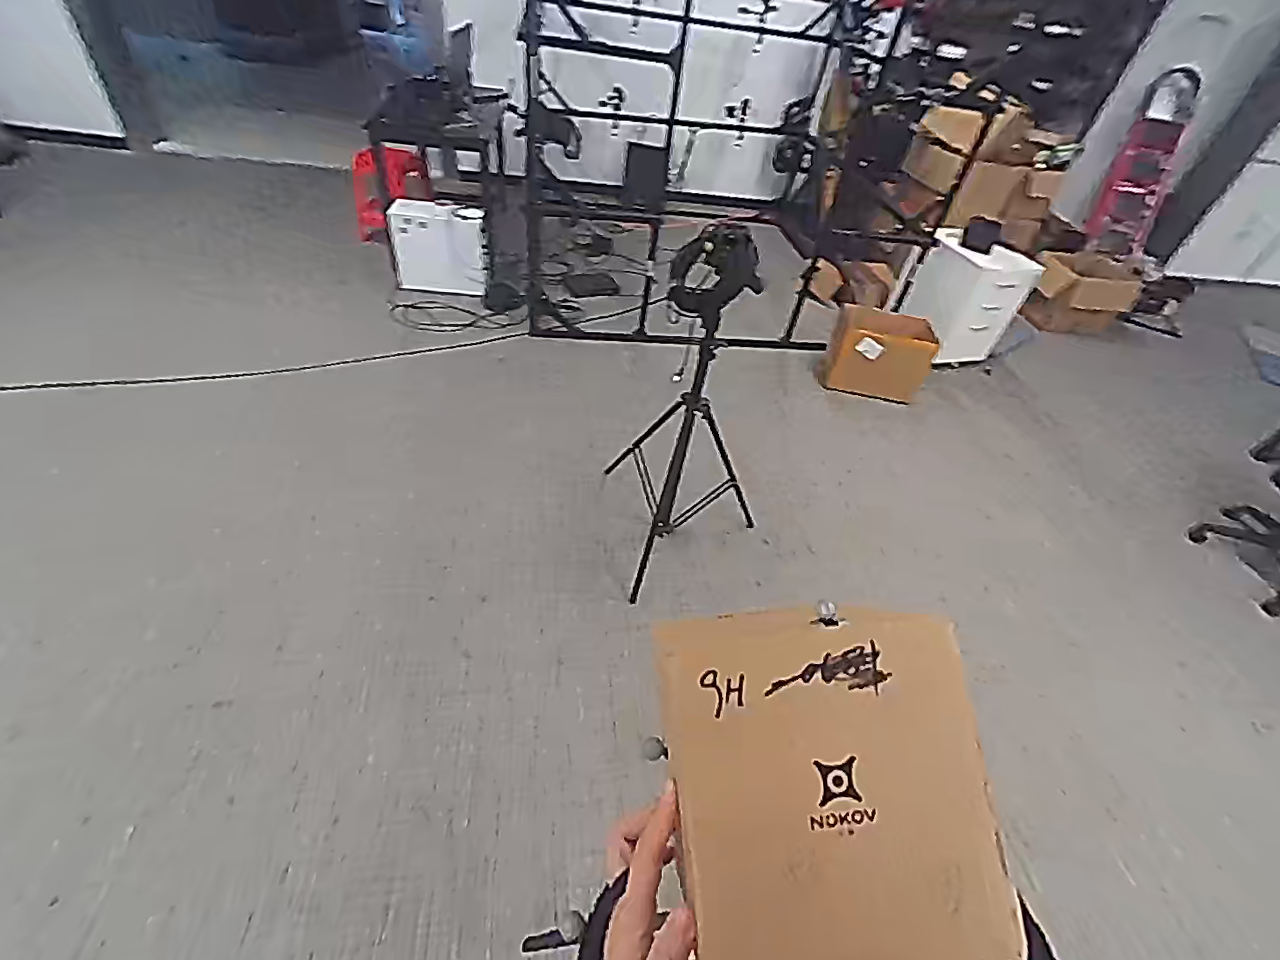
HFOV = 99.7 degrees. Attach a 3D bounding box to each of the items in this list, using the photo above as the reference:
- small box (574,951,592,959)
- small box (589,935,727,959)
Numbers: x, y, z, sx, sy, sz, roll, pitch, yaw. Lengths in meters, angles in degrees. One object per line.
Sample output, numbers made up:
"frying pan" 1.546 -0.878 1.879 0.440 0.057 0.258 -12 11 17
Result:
"small box" -0.016 0.790 0.767 0.179 0.176 0.168 5 45 -4
"small box" 0.015 0.675 0.652 0.168 0.176 0.179 5 45 -4
